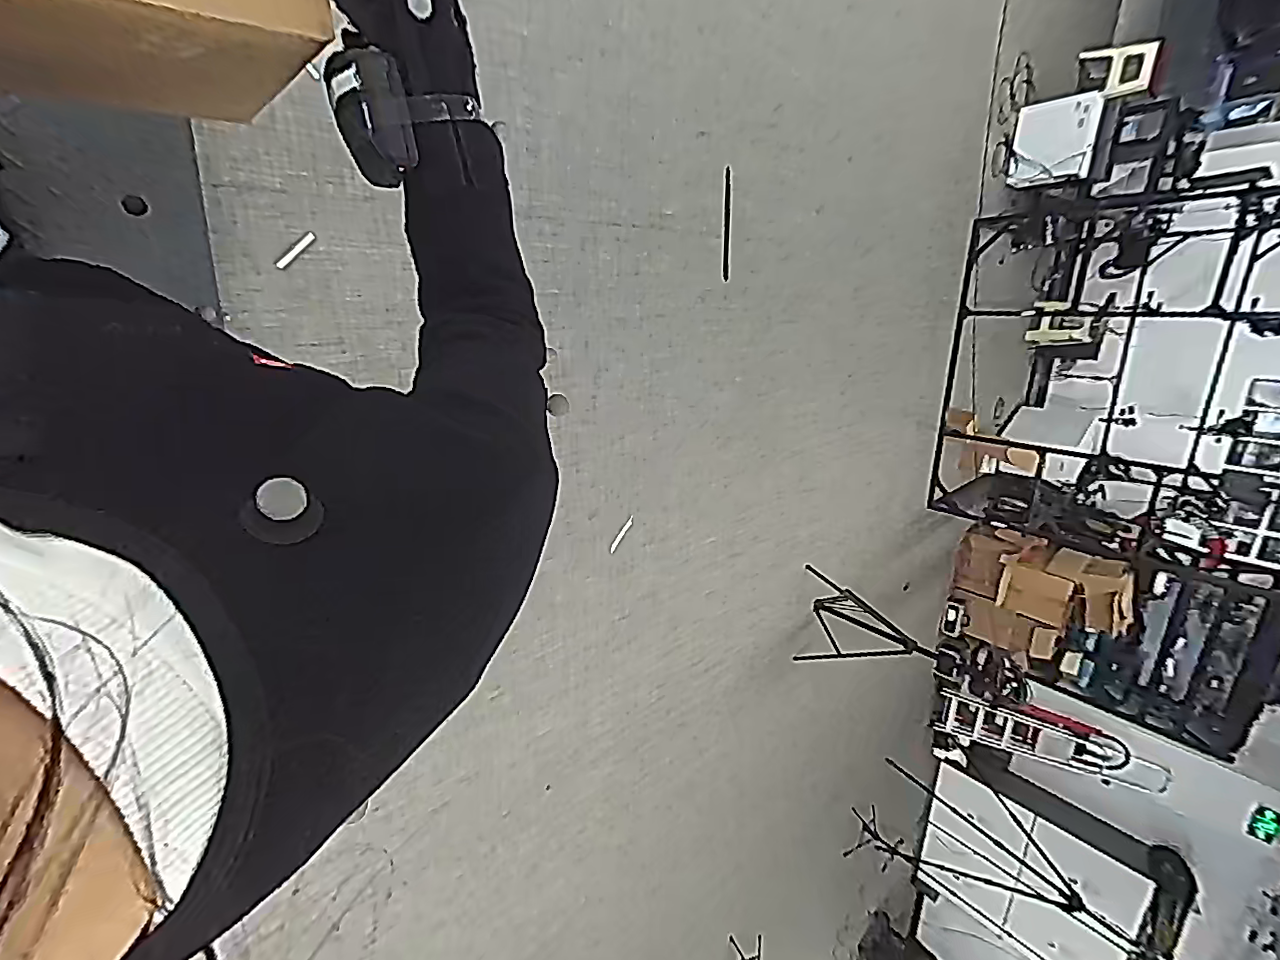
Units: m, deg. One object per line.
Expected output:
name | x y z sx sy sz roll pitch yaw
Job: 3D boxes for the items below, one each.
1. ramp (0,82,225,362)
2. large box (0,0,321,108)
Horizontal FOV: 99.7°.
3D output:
ramp | -0.998 -0.673 0.809 0.509 0.206 0.991 -15 113 -40
large box | -0.433 -0.396 0.238 0.408 0.320 0.320 -19 121 -38
